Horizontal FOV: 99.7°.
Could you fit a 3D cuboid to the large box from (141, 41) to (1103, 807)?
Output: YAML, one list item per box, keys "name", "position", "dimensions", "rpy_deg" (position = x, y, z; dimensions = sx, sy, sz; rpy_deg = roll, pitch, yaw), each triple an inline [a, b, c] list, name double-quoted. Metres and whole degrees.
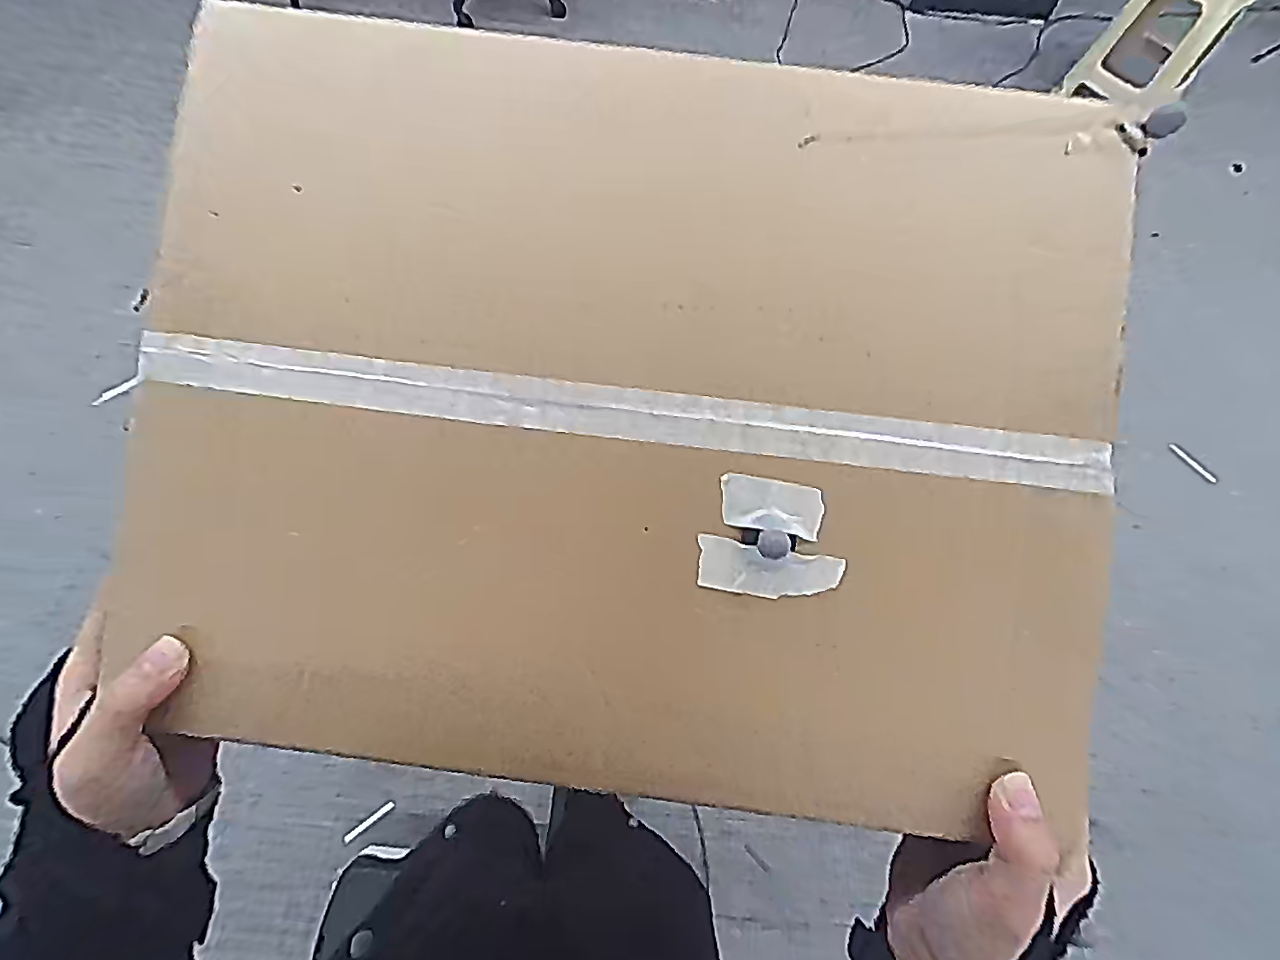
- name: "large box"
  position: [-0.005, -0.024, 0.387]
  dimensions: [0.408, 0.320, 0.320]
  rpy_deg: [7, 89, 0]
